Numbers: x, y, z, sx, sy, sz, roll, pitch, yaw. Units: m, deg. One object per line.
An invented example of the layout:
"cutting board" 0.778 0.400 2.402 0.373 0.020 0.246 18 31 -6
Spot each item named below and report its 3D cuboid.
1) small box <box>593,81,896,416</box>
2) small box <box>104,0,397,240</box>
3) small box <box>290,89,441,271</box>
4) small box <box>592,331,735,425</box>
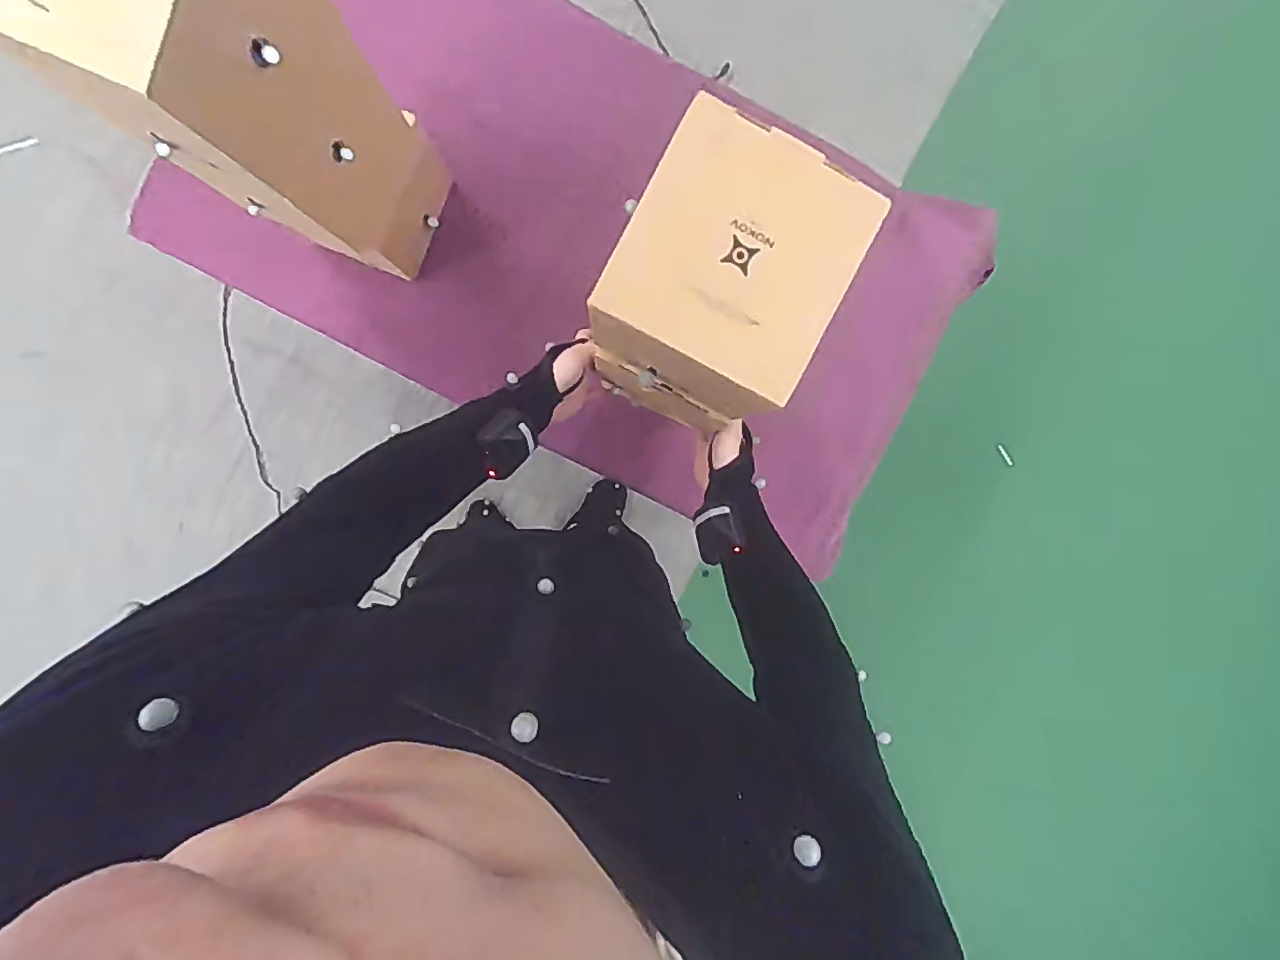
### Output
"small box" 0.069 -0.170 0.463 0.168 0.176 0.179 28 92 -5
"small box" -0.388 -0.389 0.575 0.168 0.176 0.179 23 93 -6
"small box" -0.393 -0.420 0.738 0.168 0.176 0.179 22 93 -5
"small box" 0.057 -0.174 0.626 0.168 0.176 0.179 27 90 -5
